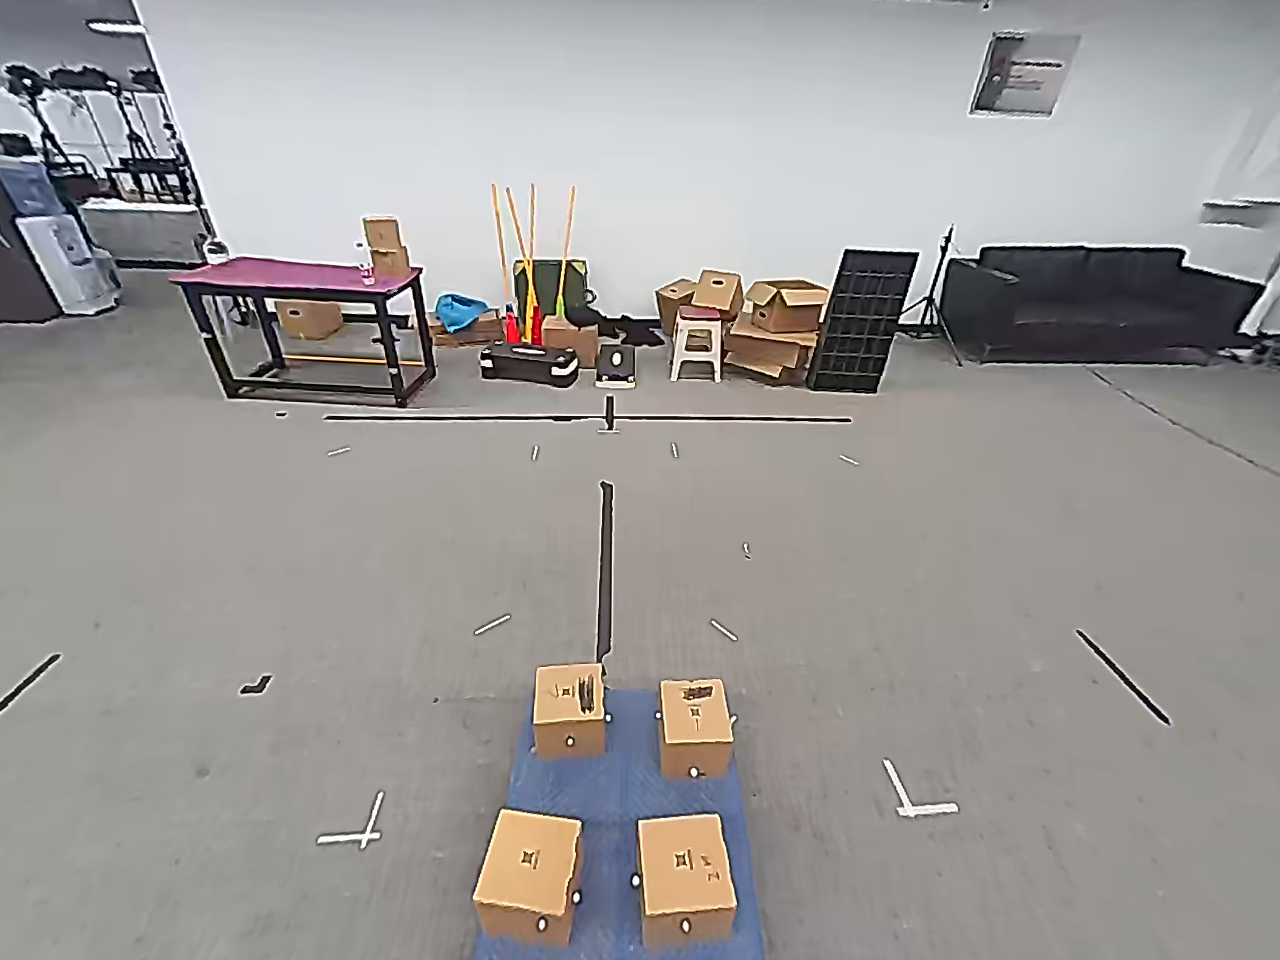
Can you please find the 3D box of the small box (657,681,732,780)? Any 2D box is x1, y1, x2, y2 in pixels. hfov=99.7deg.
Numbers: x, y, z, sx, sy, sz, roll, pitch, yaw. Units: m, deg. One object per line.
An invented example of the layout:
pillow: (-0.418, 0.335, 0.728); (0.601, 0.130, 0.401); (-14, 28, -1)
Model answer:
small box: (0.134, 0.646, 1.401); (0.168, 0.176, 0.179); (0, 34, -3)

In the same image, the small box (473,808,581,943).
small box: (-0.224, 0.816, 1.116); (0.179, 0.176, 0.168); (7, 32, 4)

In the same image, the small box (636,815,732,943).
small box: (0.082, 0.826, 1.120); (0.179, 0.176, 0.168); (-1, 33, -5)
